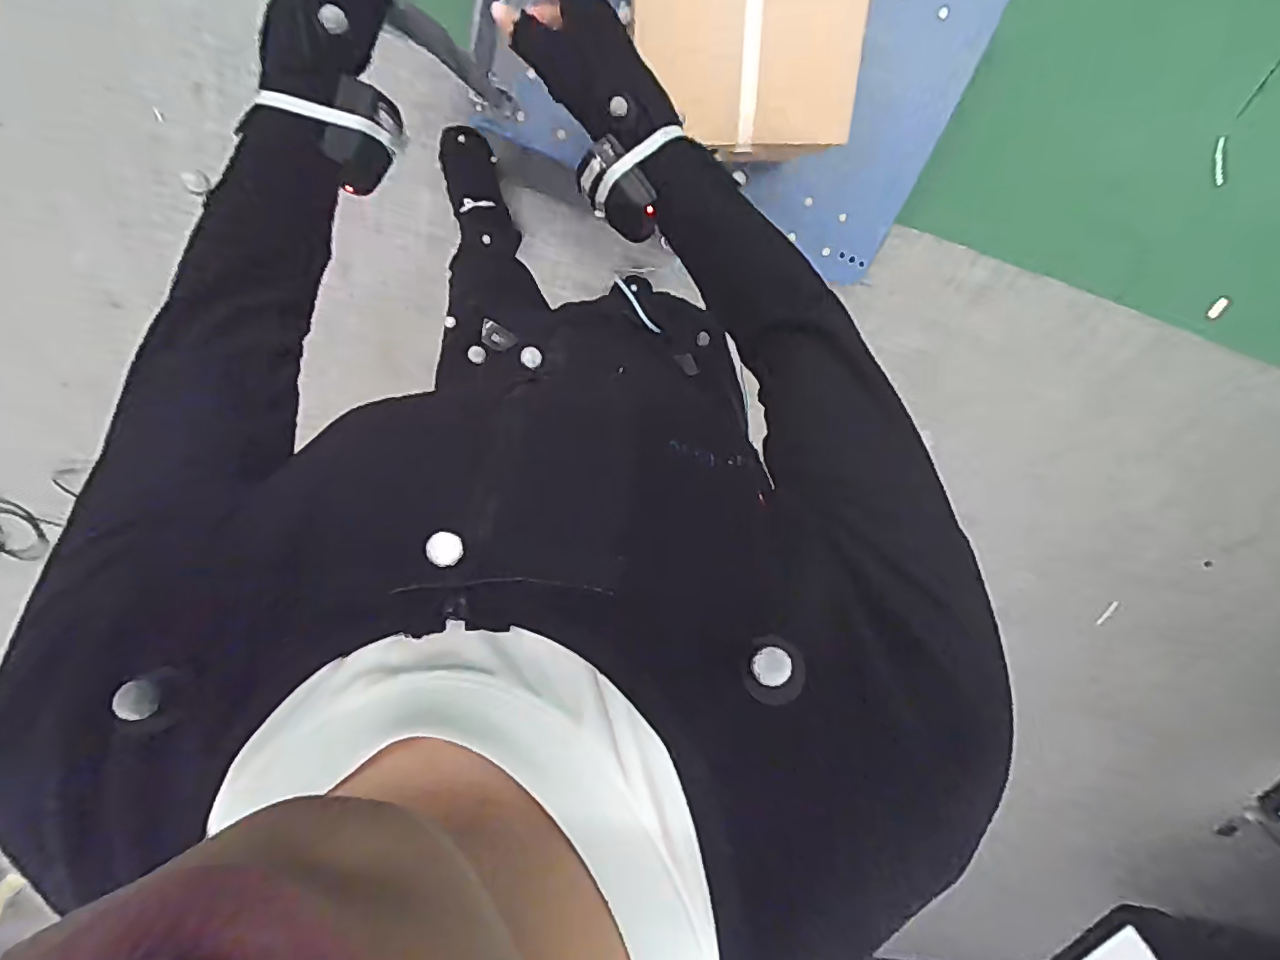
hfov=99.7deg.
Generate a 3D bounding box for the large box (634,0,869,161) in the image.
[{"bbox_3d":[0.147,-0.733,0.828,0.320,0.320,0.408,0,116,-2],"label":"large box"}]
